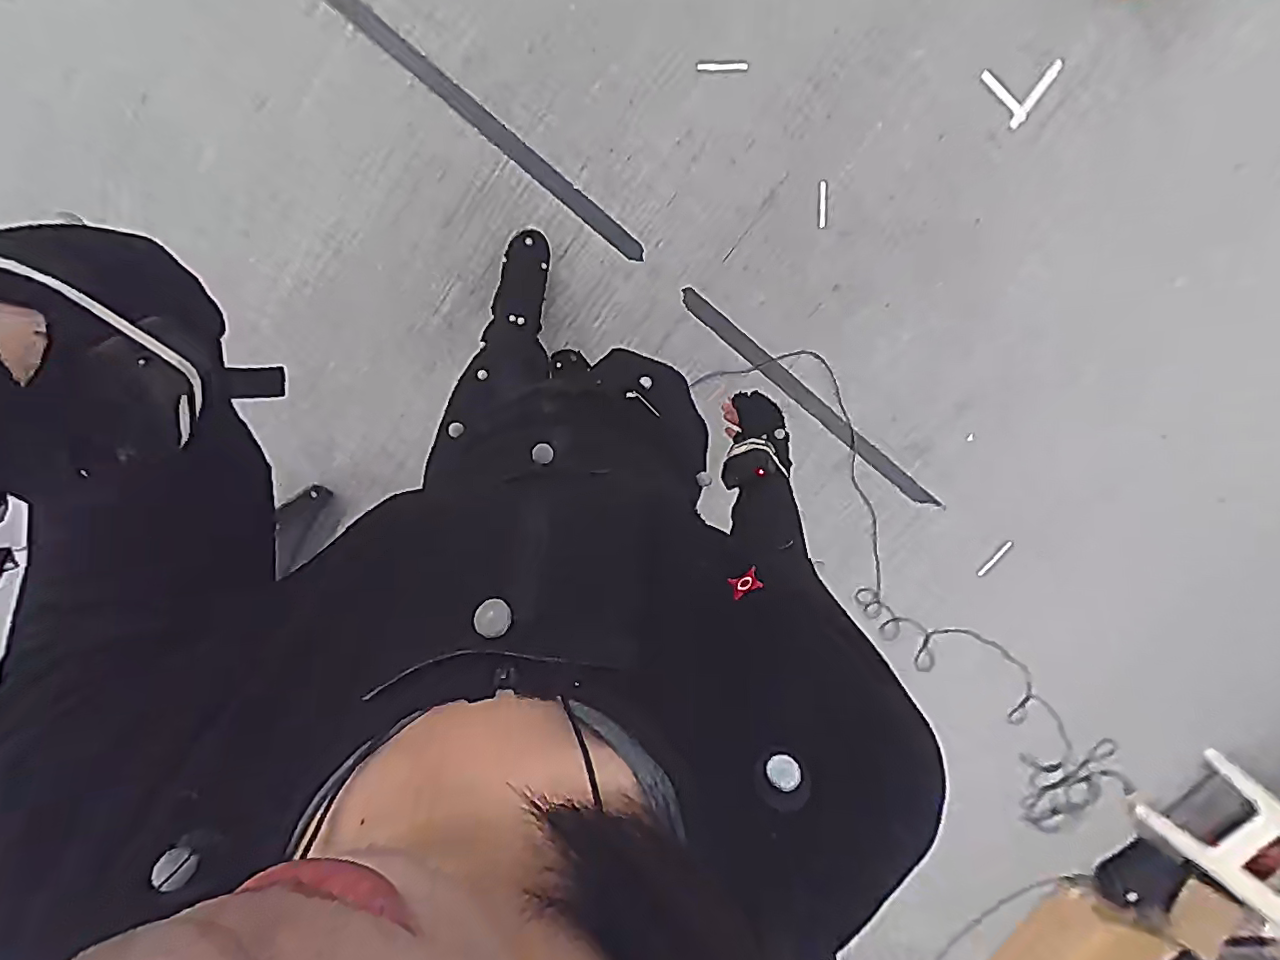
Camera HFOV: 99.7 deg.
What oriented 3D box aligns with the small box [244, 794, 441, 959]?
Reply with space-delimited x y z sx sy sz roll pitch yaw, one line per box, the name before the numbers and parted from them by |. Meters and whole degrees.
small box | -0.435 0.635 0.827 0.179 0.176 0.168 -43 106 7
